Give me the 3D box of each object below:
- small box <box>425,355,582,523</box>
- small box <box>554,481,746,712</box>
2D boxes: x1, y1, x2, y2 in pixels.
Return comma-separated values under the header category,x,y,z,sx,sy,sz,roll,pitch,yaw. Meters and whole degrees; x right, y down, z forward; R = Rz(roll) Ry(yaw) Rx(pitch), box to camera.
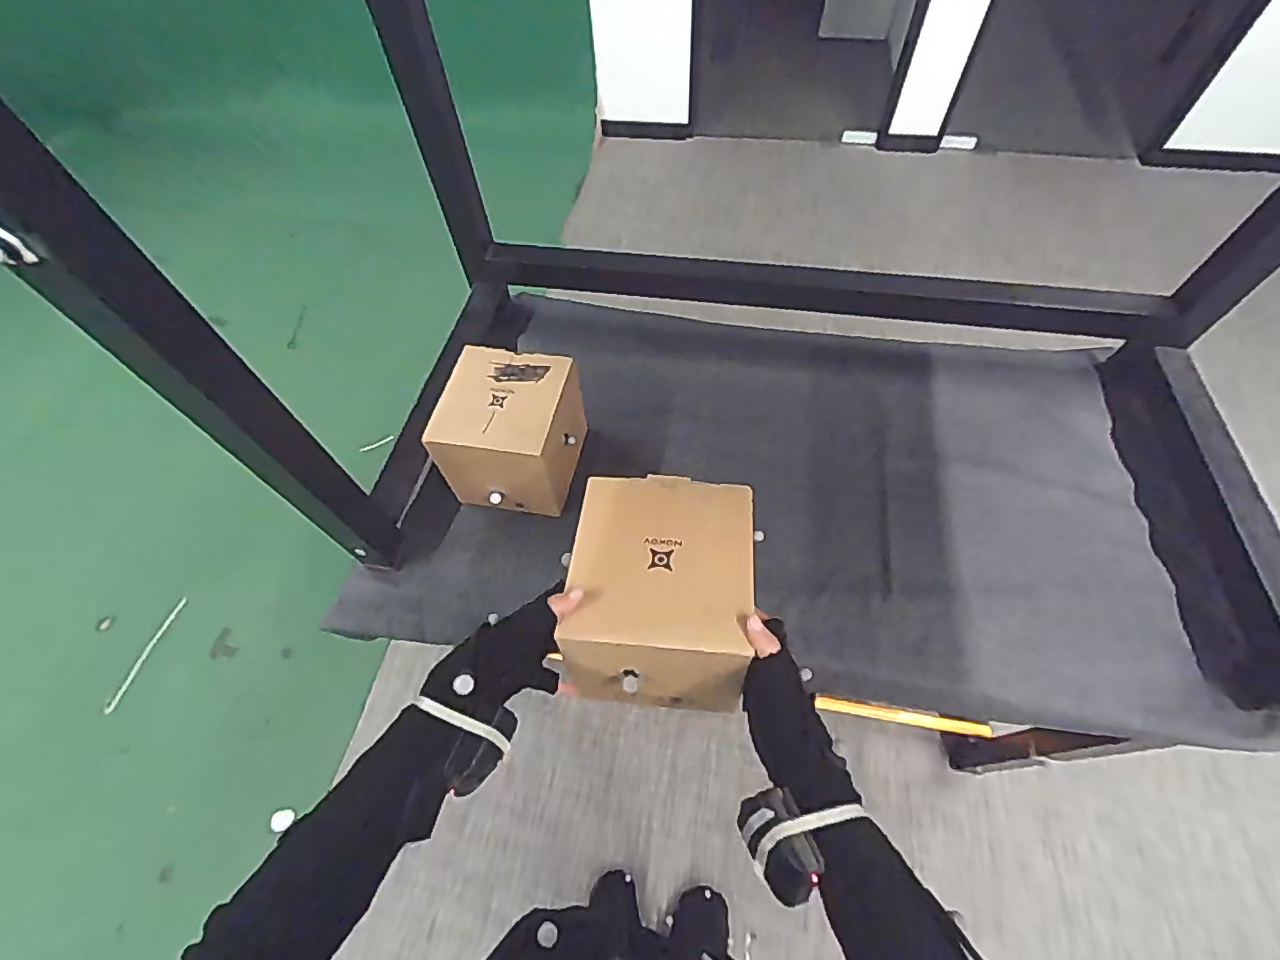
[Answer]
category,x,y,z,sx,sy,sz,roll,pitch,yaw
small box,-0.188,-0.059,0.814,0.168,0.176,0.179,8,58,7
small box,0.020,0.123,0.560,0.168,0.176,0.179,4,49,5
